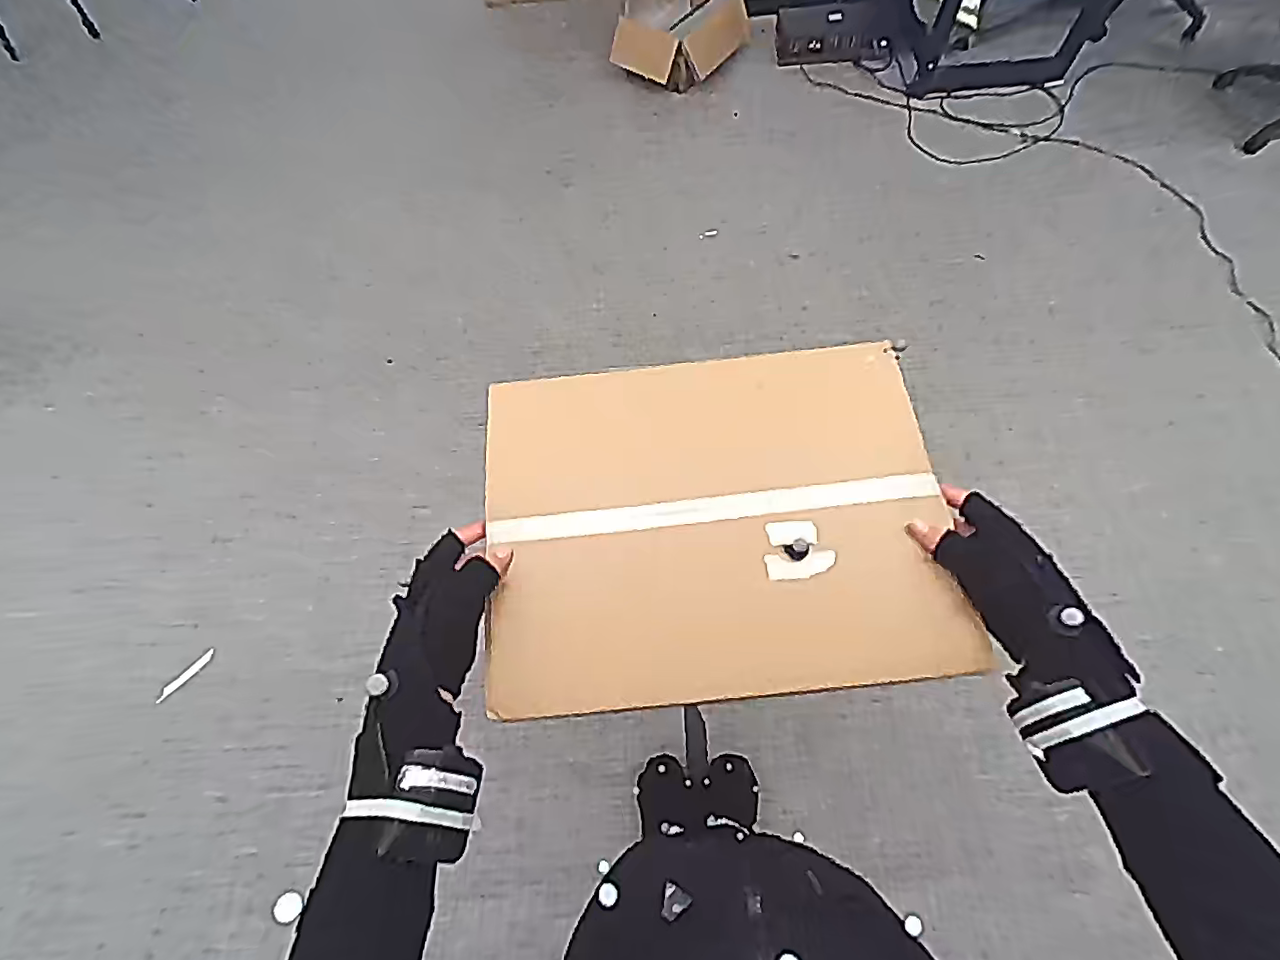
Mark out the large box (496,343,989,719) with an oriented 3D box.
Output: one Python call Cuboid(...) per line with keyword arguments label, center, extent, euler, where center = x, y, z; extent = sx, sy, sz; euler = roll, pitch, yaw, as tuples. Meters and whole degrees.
Cuboid(label="large box", center=(0.073, 0.082, 0.624), extent=(0.408, 0.320, 0.320), euler=(-6, 68, 0))
